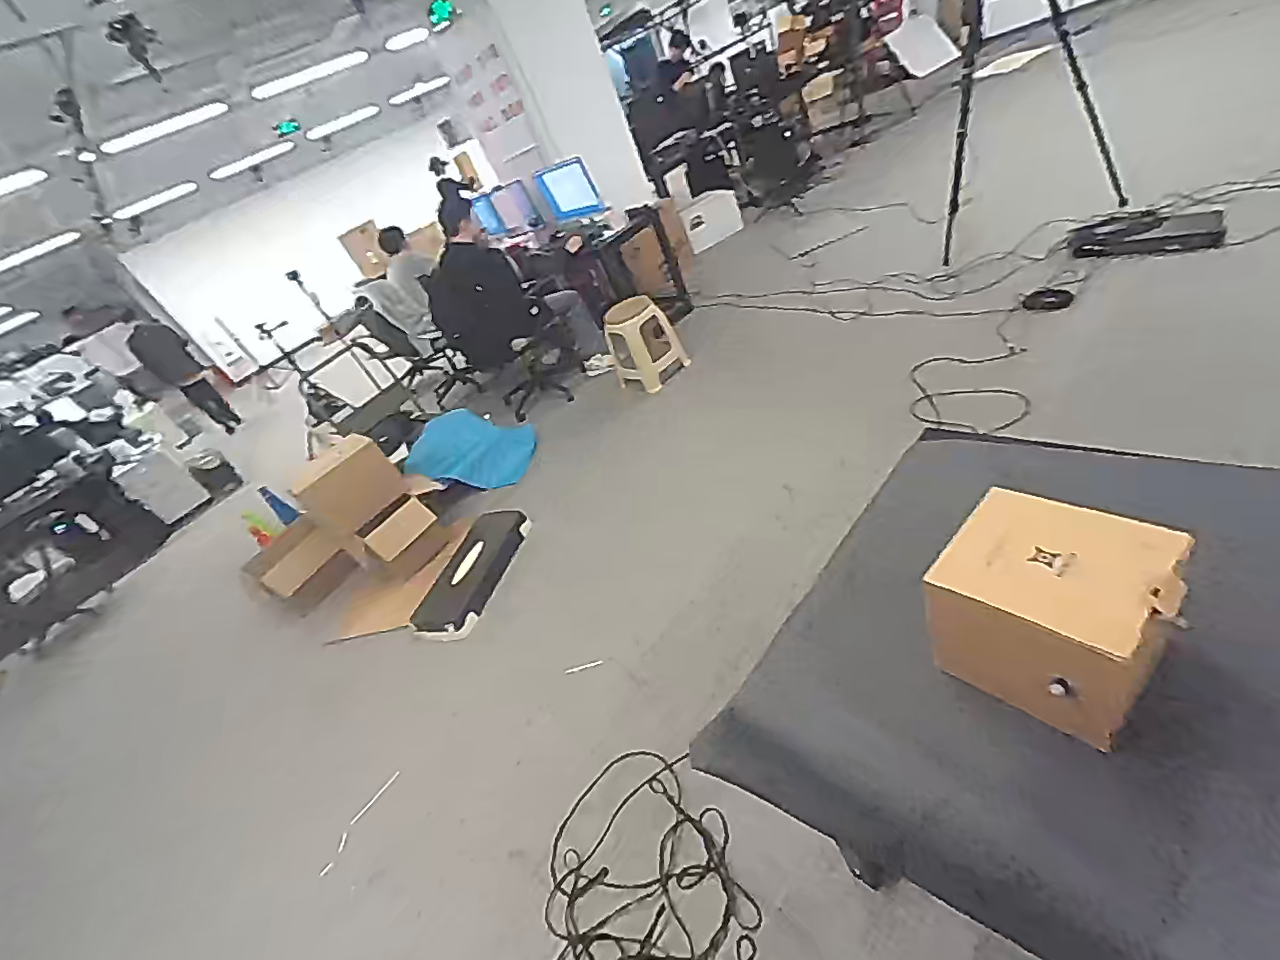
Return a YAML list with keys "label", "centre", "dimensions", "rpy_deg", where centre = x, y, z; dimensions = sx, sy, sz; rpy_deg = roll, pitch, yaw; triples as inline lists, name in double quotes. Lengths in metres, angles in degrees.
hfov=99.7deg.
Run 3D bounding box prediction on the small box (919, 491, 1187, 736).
- label: "small box"
  centre: [0.438, 0.143, 0.588]
  dimensions: [0.168, 0.176, 0.179]
  rpy_deg: [-41, 35, -22]
